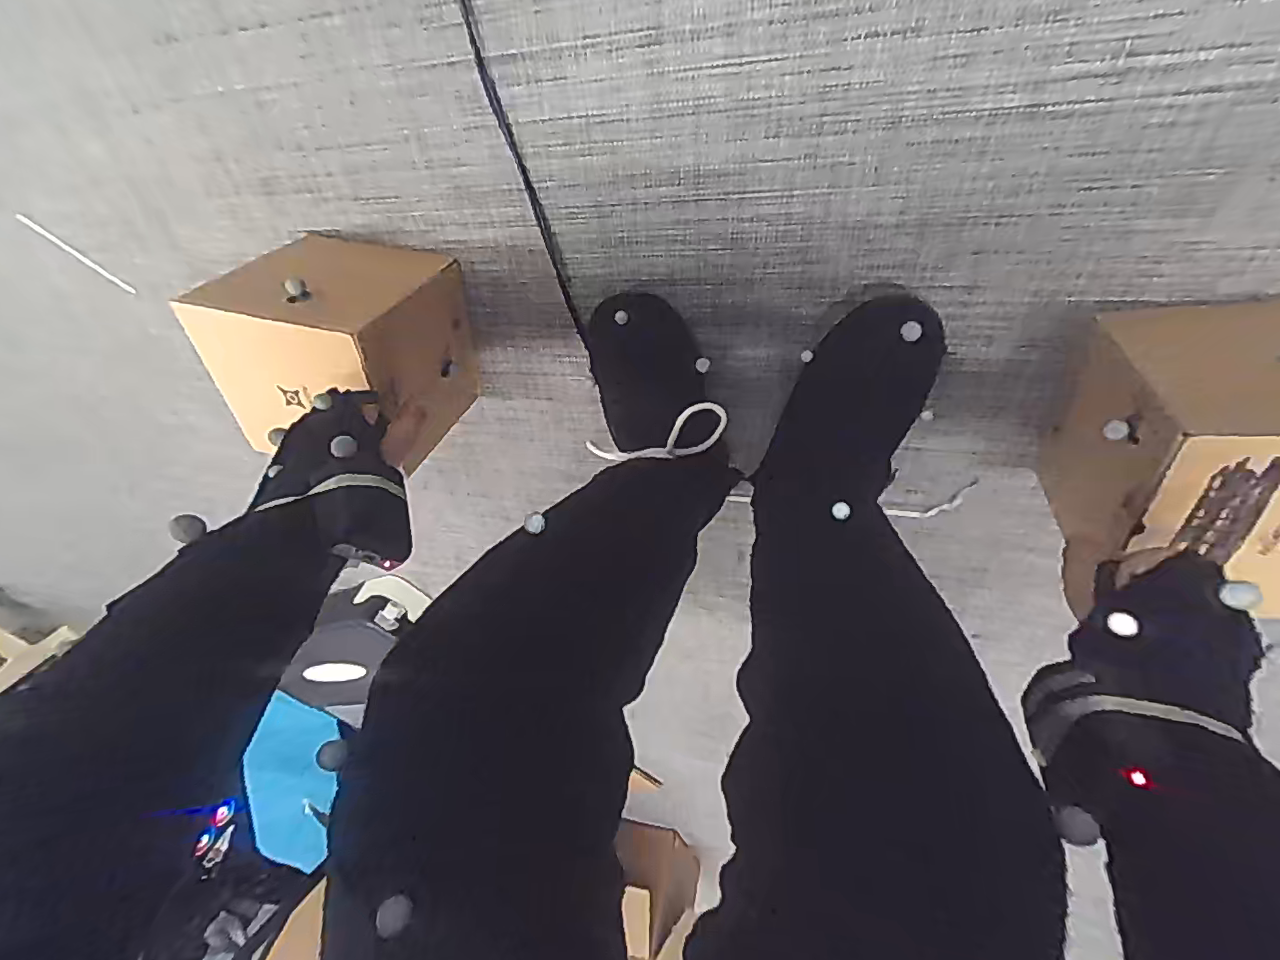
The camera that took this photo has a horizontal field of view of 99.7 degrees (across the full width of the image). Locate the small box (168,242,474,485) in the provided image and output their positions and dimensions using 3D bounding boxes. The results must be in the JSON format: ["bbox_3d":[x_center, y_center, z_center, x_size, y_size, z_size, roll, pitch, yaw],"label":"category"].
[{"bbox_3d":[-0.295,-0.124,0.547,0.179,0.176,0.168,11,134,8],"label":"small box"}]
